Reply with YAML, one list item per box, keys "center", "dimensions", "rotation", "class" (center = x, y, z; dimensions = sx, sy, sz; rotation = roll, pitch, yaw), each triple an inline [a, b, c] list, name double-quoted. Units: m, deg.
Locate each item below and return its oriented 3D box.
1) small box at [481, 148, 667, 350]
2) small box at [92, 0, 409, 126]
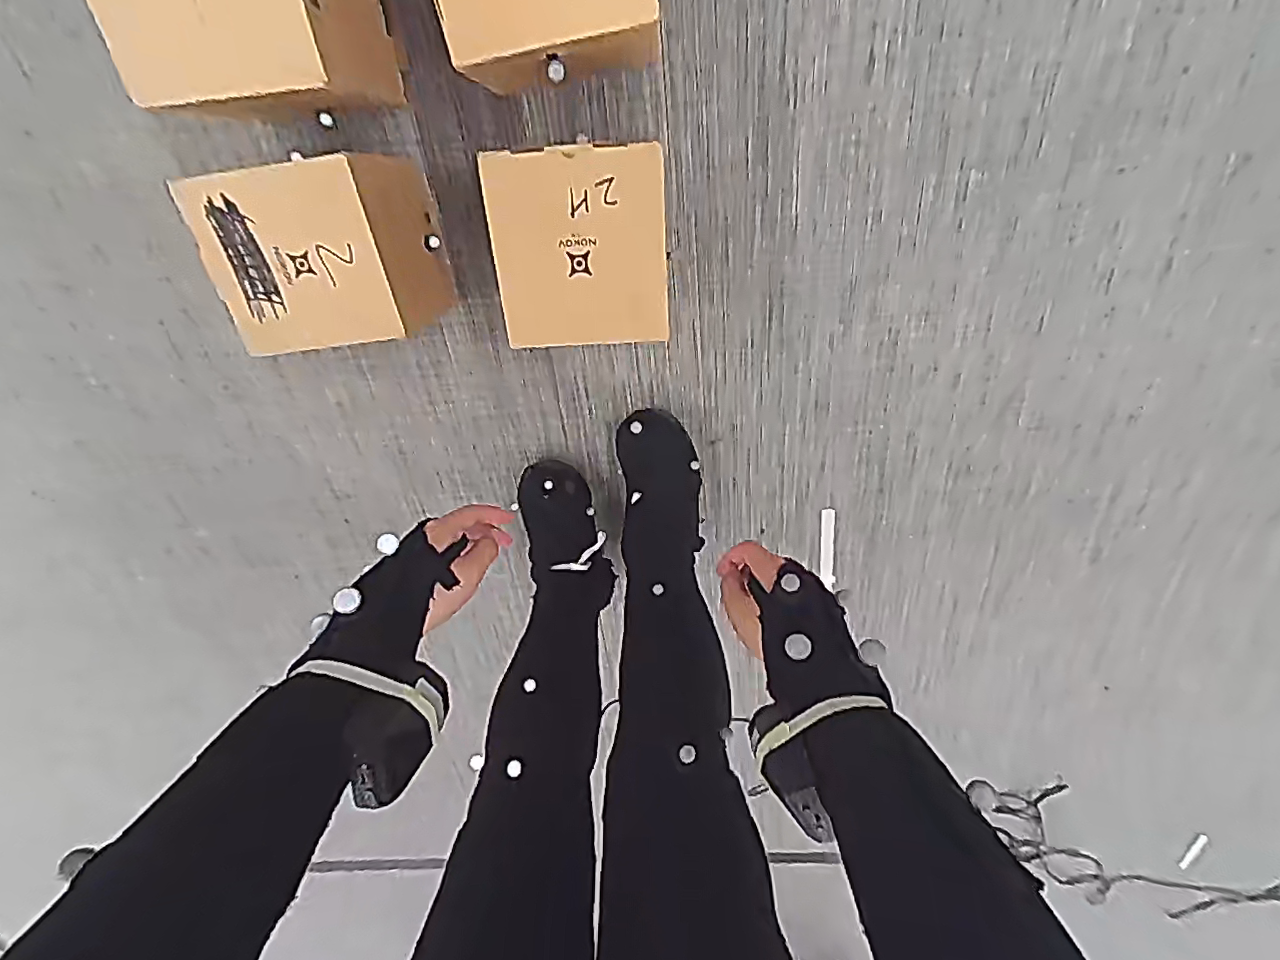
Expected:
- center: [-0.054, -0.251, 0.583]
  dimensions: [0.168, 0.176, 0.179]
  rotation: [-2, 119, 2]
  class: "small box"
- center: [-0.347, -0.431, 0.488]
  dimensions: [0.179, 0.176, 0.168]
  rotation: [-4, 119, 3]
  class: "small box"
